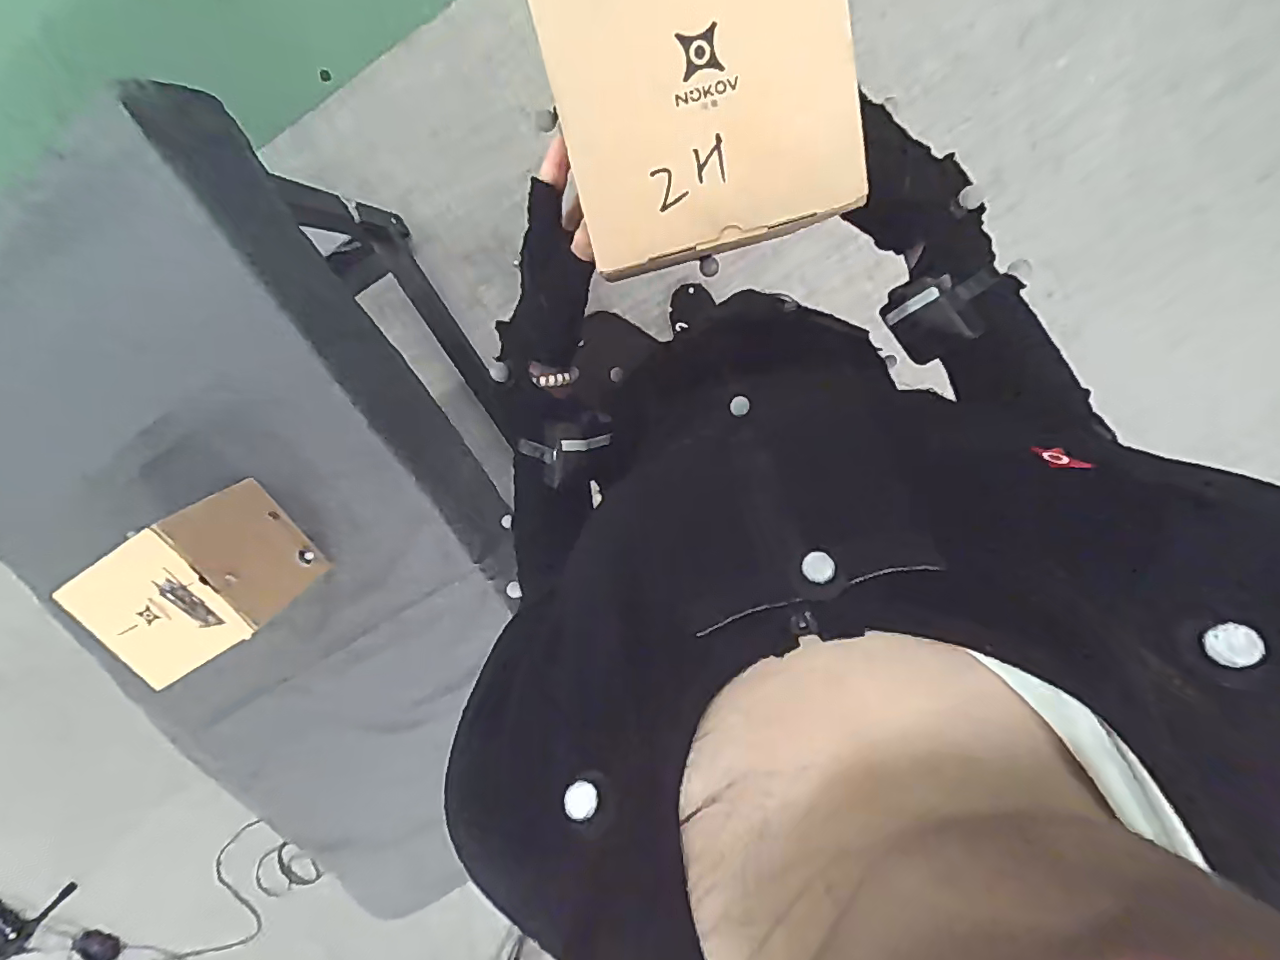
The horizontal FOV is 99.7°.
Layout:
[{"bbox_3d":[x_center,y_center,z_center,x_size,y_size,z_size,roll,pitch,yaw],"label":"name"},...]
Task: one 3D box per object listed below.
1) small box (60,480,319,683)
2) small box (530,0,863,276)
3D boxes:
[{"bbox_3d":[-0.571,0.125,0.720,0.179,0.176,0.168,-30,106,12],"label":"small box"},{"bbox_3d":[0.030,-0.250,0.368,0.168,0.176,0.179,-13,108,4],"label":"small box"}]
